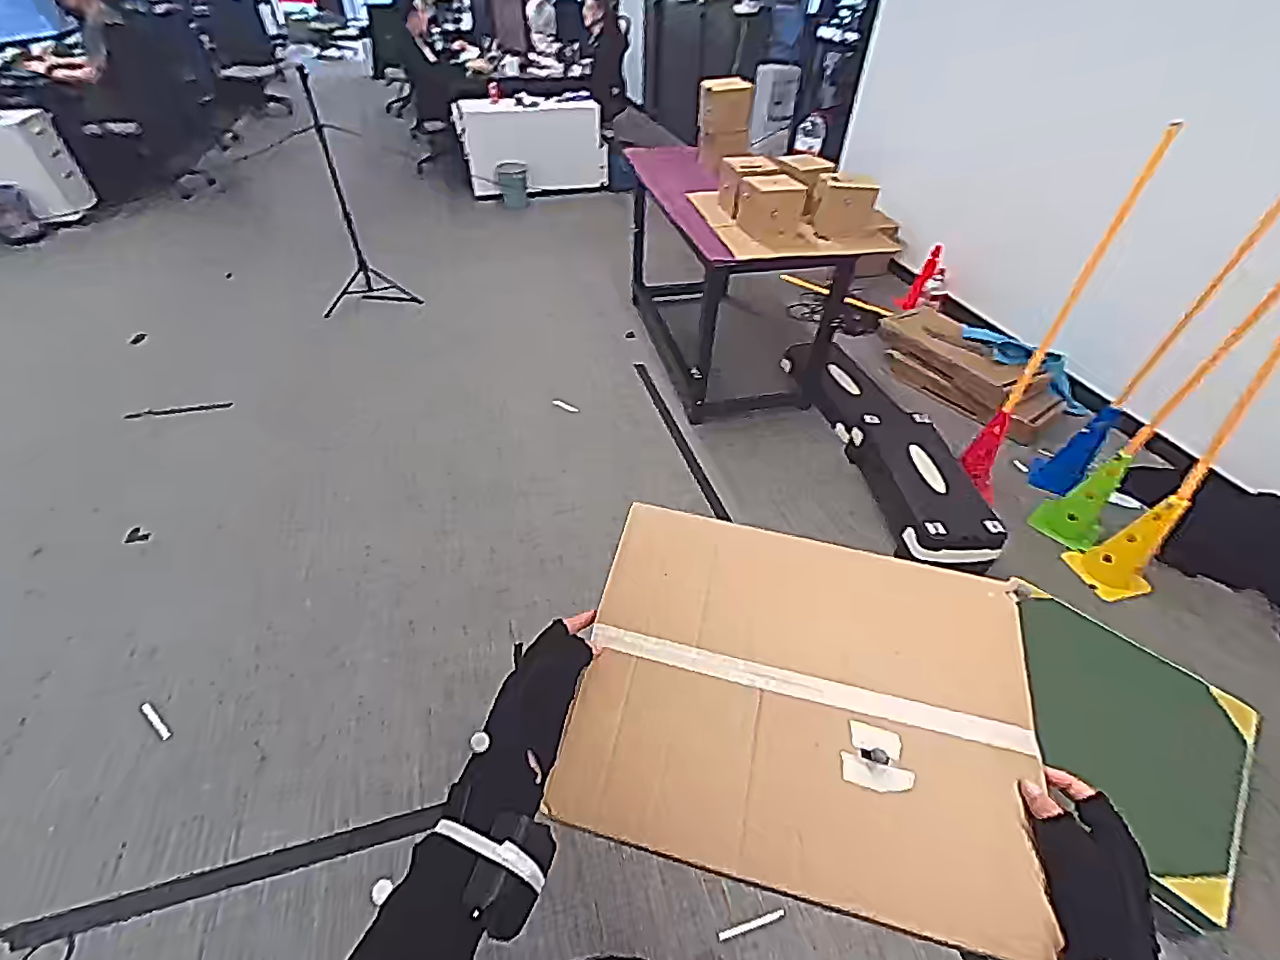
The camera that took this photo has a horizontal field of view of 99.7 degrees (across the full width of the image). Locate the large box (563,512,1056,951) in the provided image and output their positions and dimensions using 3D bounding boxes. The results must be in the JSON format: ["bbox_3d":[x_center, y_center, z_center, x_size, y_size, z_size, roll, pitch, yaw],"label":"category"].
[{"bbox_3d":[0.158,0.278,0.637,0.408,0.320,0.320,12,58,8],"label":"large box"}]
